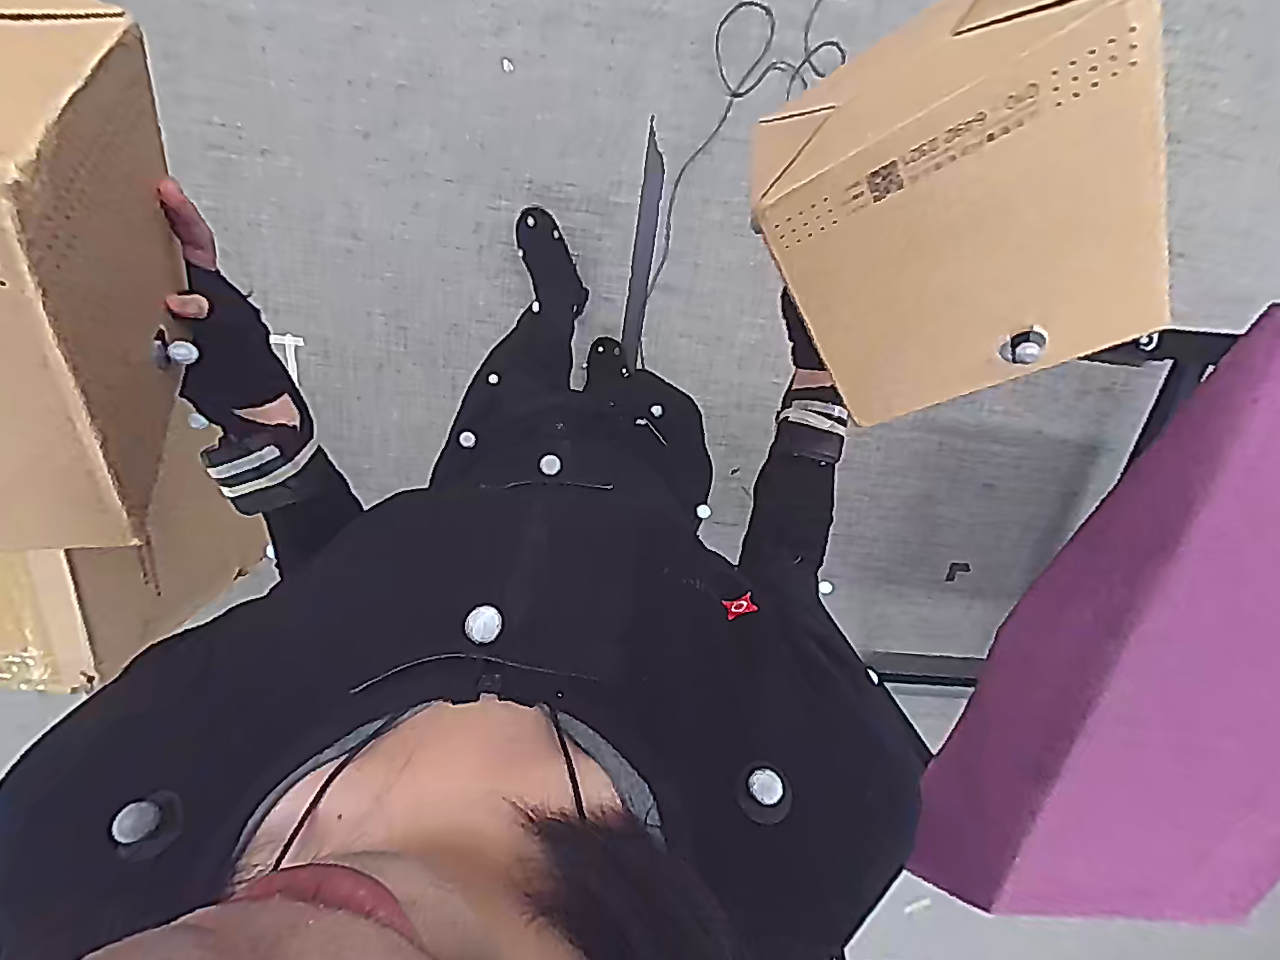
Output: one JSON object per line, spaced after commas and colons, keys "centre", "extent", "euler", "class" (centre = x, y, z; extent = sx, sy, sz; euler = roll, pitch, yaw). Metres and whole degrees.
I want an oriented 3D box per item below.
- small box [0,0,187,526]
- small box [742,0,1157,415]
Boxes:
{"centre": [-0.297, -0.099, 0.200], "extent": [0.168, 0.179, 0.176], "euler": [0, 138, -29], "class": "small box"}
{"centre": [0.174, -0.179, 0.335], "extent": [0.168, 0.179, 0.176], "euler": [-21, 128, 29], "class": "small box"}
